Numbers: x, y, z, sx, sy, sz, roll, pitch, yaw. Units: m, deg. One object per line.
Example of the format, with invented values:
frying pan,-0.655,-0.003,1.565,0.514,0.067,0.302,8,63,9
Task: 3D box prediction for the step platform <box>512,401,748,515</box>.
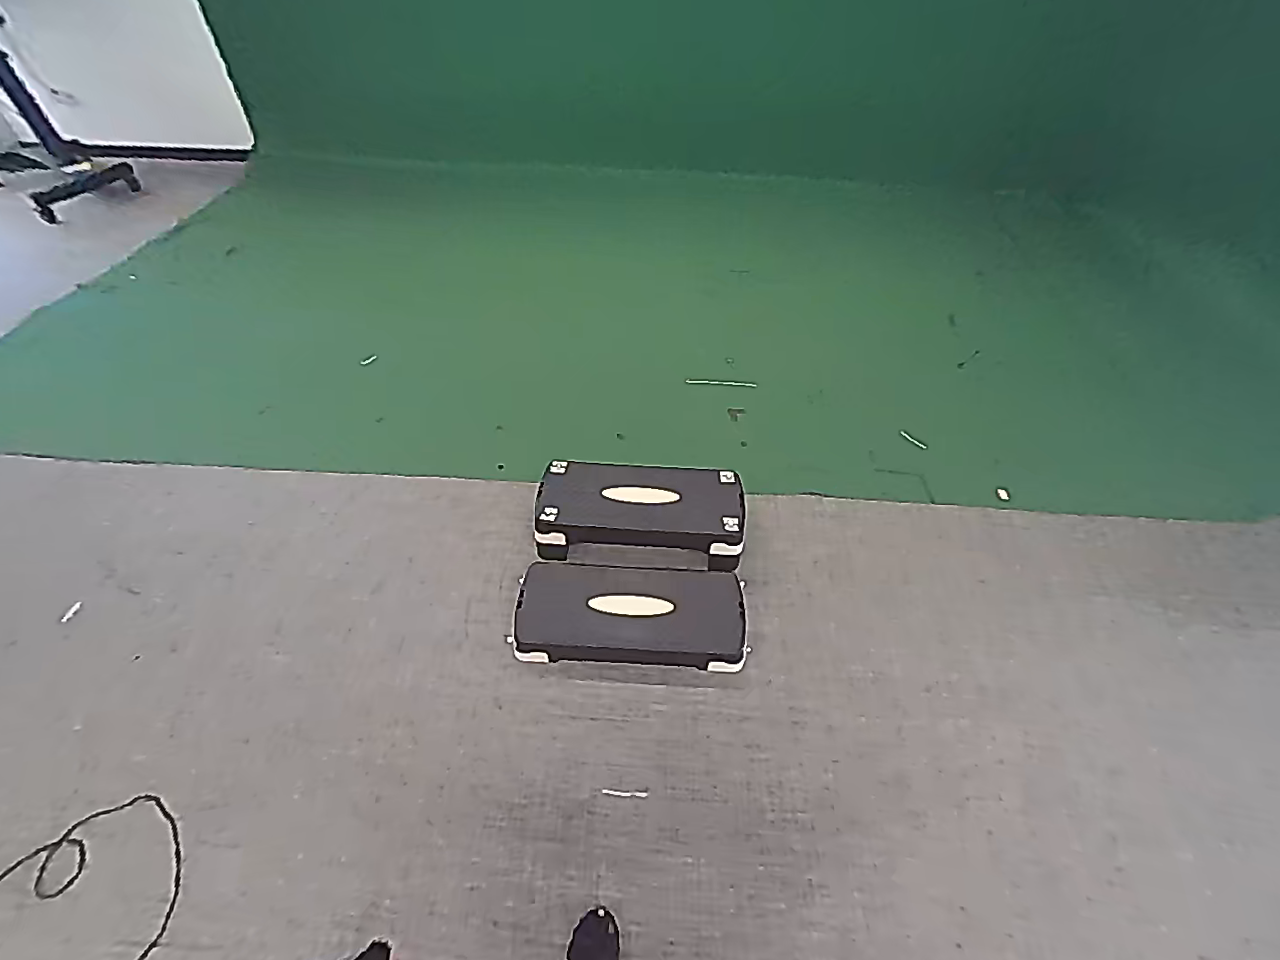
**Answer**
step platform,-0.027,-0.066,1.650,0.684,0.204,0.286,3,49,1
